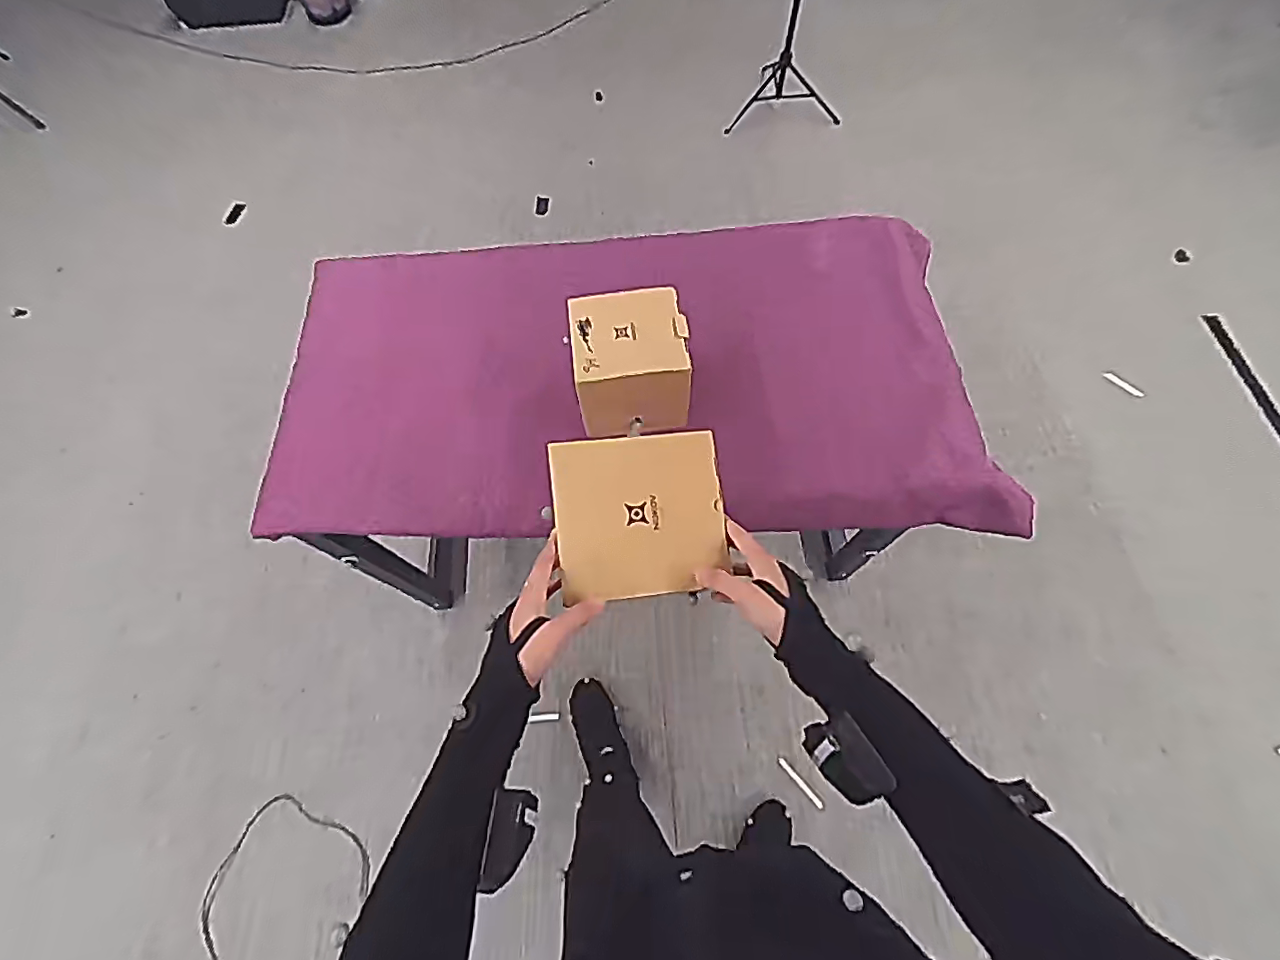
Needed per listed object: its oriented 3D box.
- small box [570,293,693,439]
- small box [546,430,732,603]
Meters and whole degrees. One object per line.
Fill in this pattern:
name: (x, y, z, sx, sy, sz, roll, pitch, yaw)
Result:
small box: (-0.016, -0.182, 0.896, 0.179, 0.176, 0.168, -7, 64, -2)
small box: (-0.010, 0.050, 0.622, 0.179, 0.176, 0.168, -5, 79, -8)
